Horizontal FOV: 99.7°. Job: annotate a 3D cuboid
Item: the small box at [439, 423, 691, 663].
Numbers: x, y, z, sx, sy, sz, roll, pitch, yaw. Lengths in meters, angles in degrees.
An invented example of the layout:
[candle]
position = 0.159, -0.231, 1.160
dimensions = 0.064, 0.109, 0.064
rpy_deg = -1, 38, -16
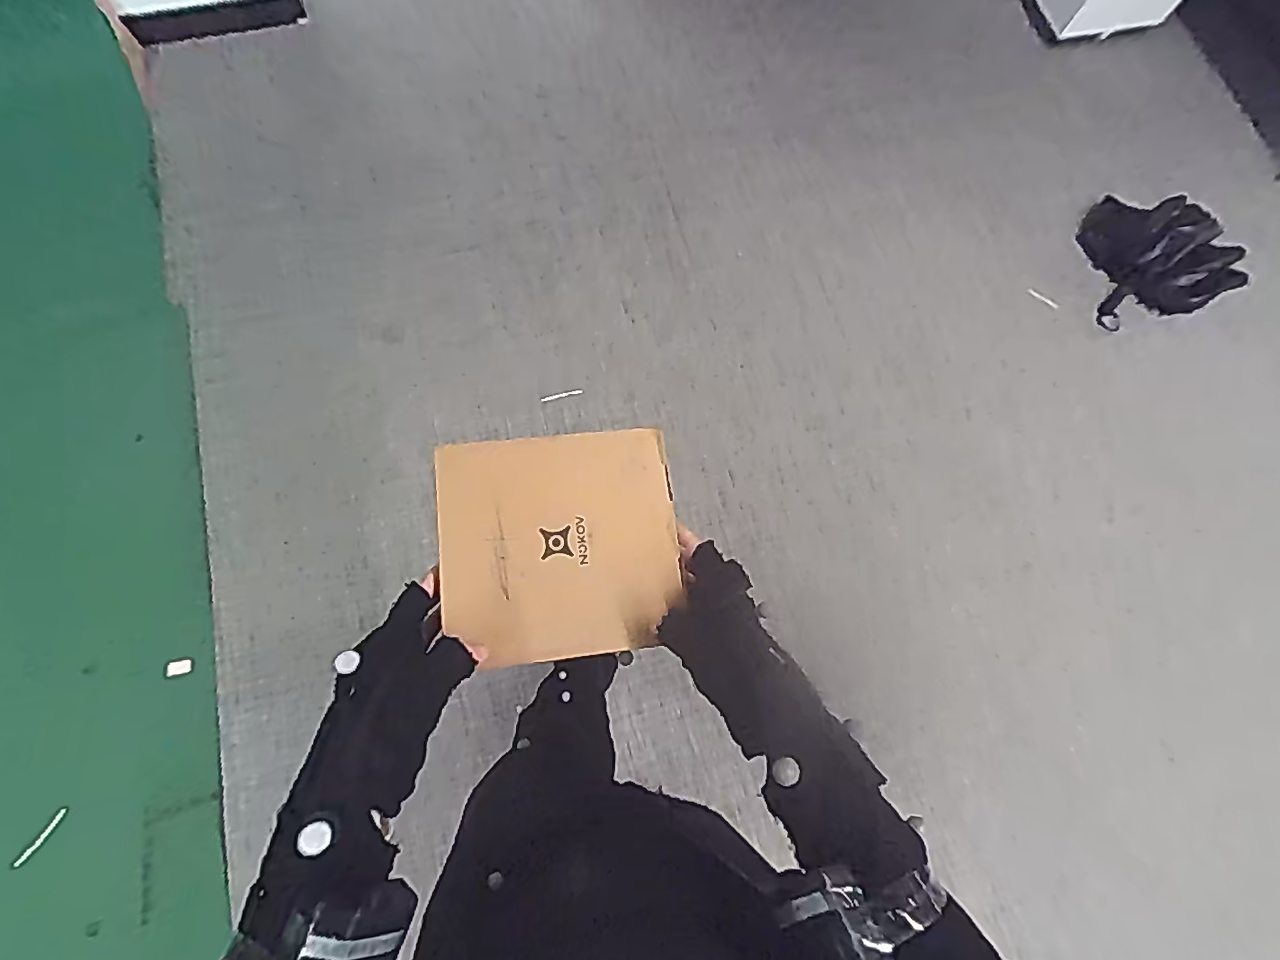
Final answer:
[small box]
position = -0.066, 0.060, 0.482
dimensions = 0.179, 0.176, 0.168
rpy_deg = -7, 76, -7
